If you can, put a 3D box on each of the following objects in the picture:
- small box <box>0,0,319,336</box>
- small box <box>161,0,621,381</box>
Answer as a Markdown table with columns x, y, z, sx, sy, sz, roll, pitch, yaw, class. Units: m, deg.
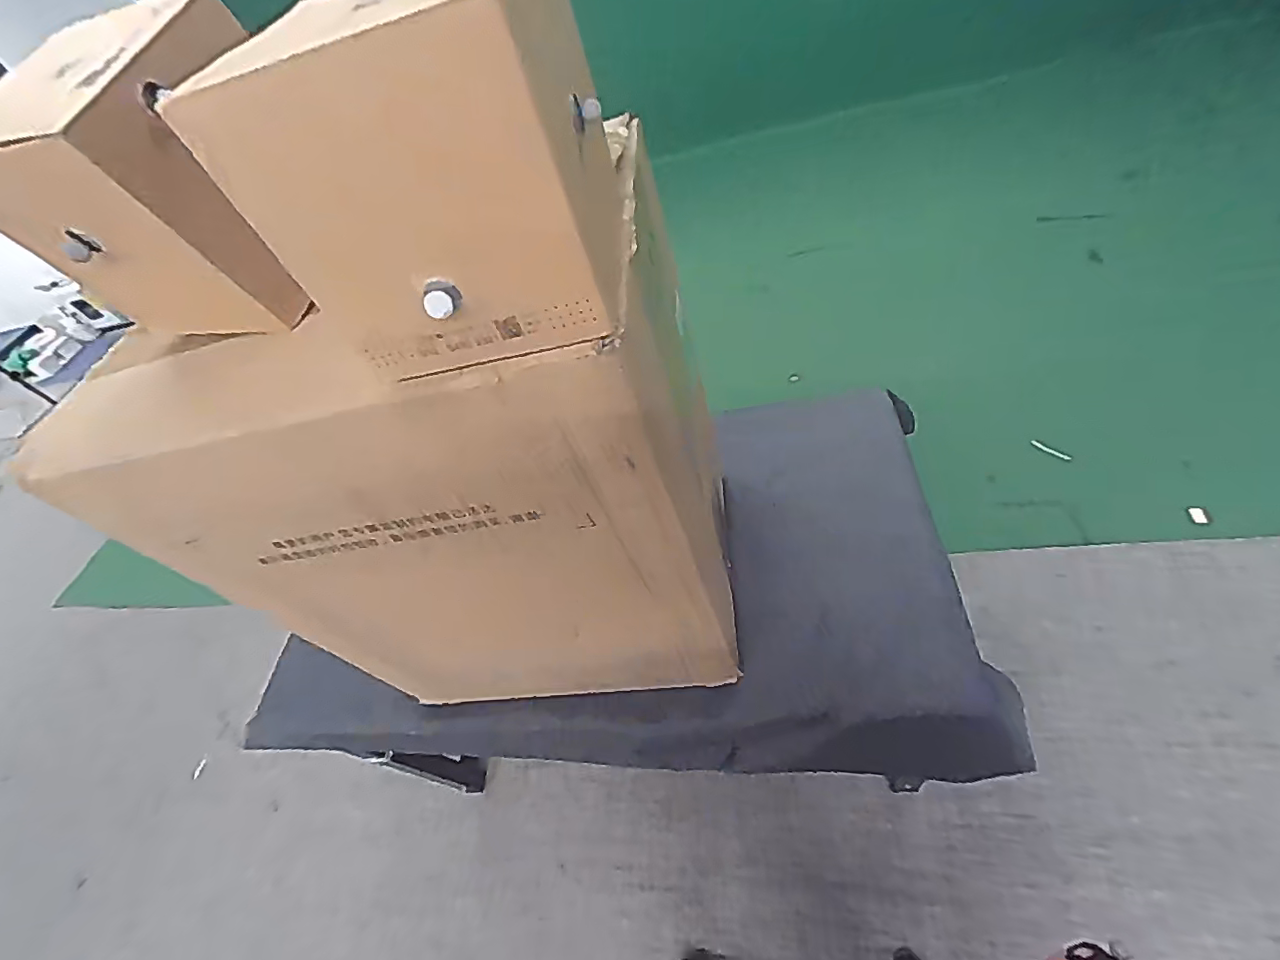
| x | y | z | sx | sy | sz | roll | pitch | yaw | class |
| --- | --- | --- | --- | --- | --- | --- | --- | --- | --- |
| -0.369 | -0.232 | 0.436 | 0.179 | 0.176 | 0.168 | 4 | 66 | 19 | small box |
| -0.113 | -0.189 | 0.335 | 0.168 | 0.176 | 0.179 | -8 | 52 | 12 | small box |
